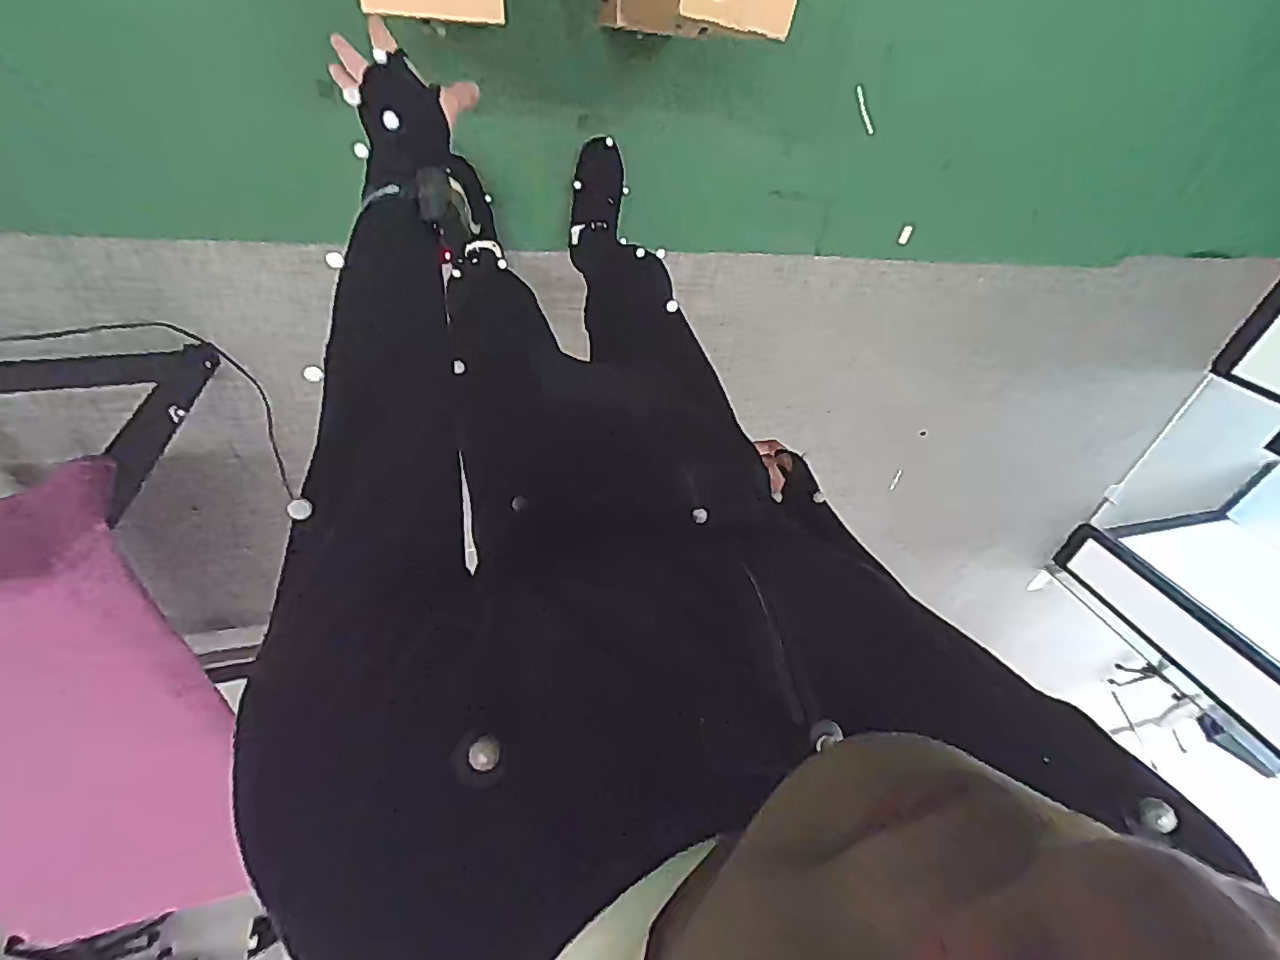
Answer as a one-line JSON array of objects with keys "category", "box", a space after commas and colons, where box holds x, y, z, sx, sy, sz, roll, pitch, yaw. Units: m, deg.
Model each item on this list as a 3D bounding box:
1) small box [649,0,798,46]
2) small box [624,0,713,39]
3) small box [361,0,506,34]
[{"category": "small box", "box": [0.120, -0.724, 0.741, 0.168, 0.176, 0.179, -2, 130, -18]}, {"category": "small box", "box": [0.080, -0.829, 0.861, 0.168, 0.176, 0.179, -2, 129, -18]}, {"category": "small box", "box": [-0.258, -0.668, 0.660, 0.168, 0.176, 0.179, -6, 129, -13]}]
